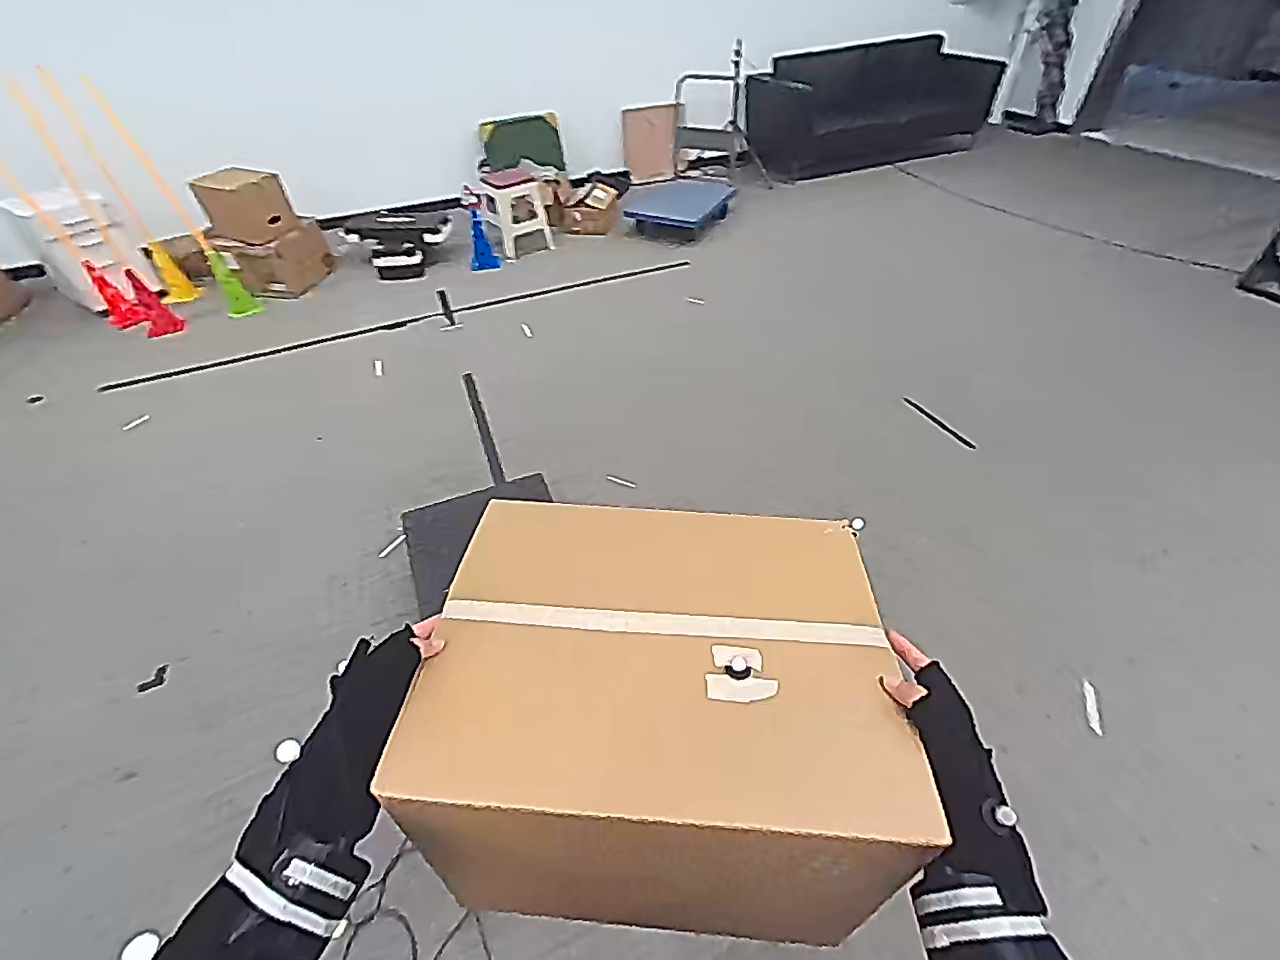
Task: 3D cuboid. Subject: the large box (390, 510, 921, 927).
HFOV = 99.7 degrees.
[{"bbox_3d":[0.013,0.256,0.604,0.408,0.320,0.320,3,40,3],"label":"large box"}]
